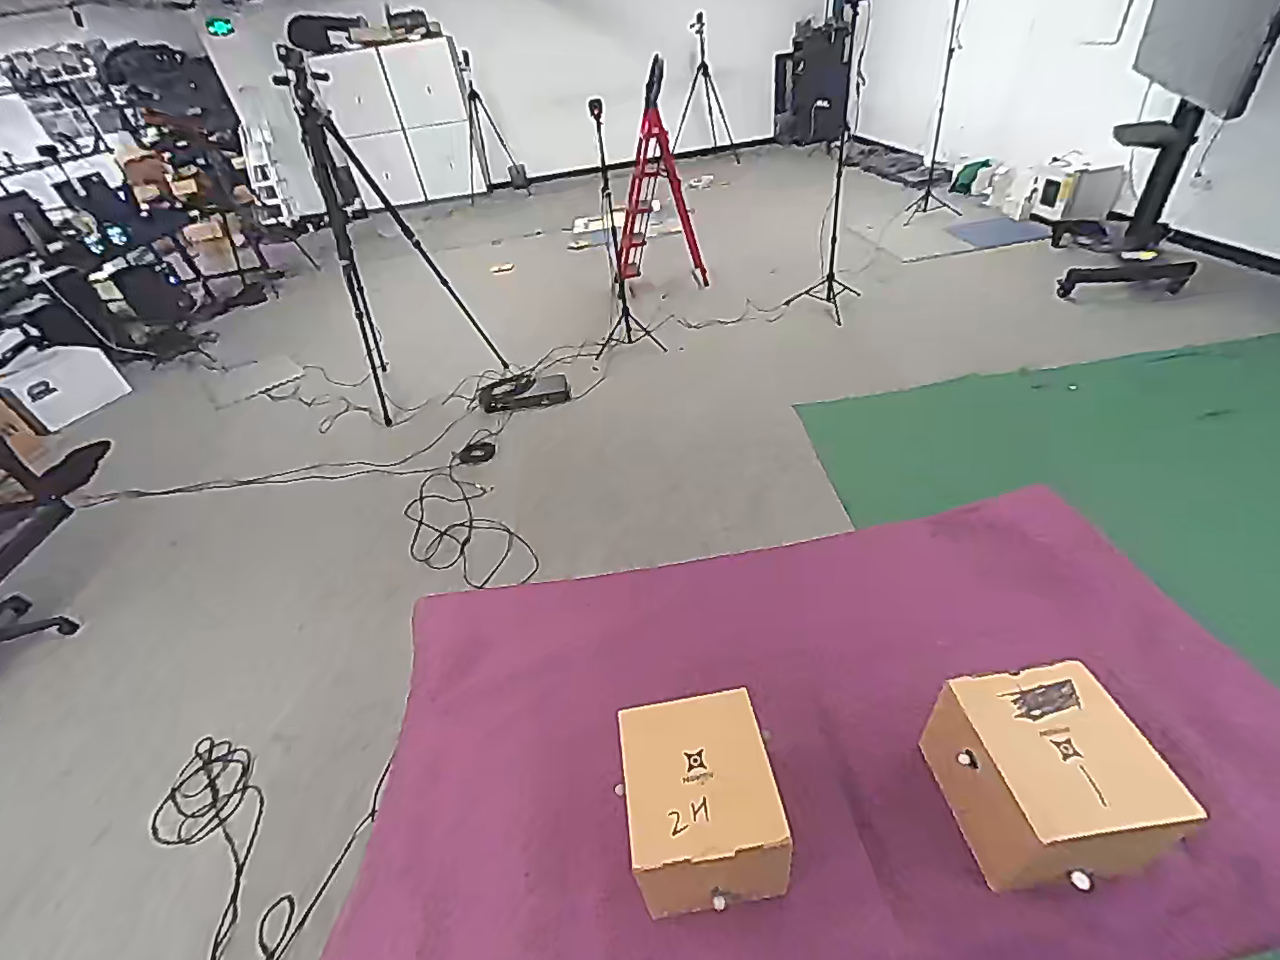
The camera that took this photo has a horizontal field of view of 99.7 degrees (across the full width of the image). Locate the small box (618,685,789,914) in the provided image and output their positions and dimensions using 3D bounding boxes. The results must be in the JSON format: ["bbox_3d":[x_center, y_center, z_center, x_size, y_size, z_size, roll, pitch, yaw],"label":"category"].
[{"bbox_3d":[0.070,0.381,0.652,0.168,0.176,0.179,-10,37,0],"label":"small box"}]

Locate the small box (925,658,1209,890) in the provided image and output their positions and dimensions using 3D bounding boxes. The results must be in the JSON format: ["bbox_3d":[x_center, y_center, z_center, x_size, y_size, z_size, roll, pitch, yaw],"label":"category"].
[{"bbox_3d":[0.462,0.339,0.627,0.168,0.176,0.179,-9,39,1],"label":"small box"}]
